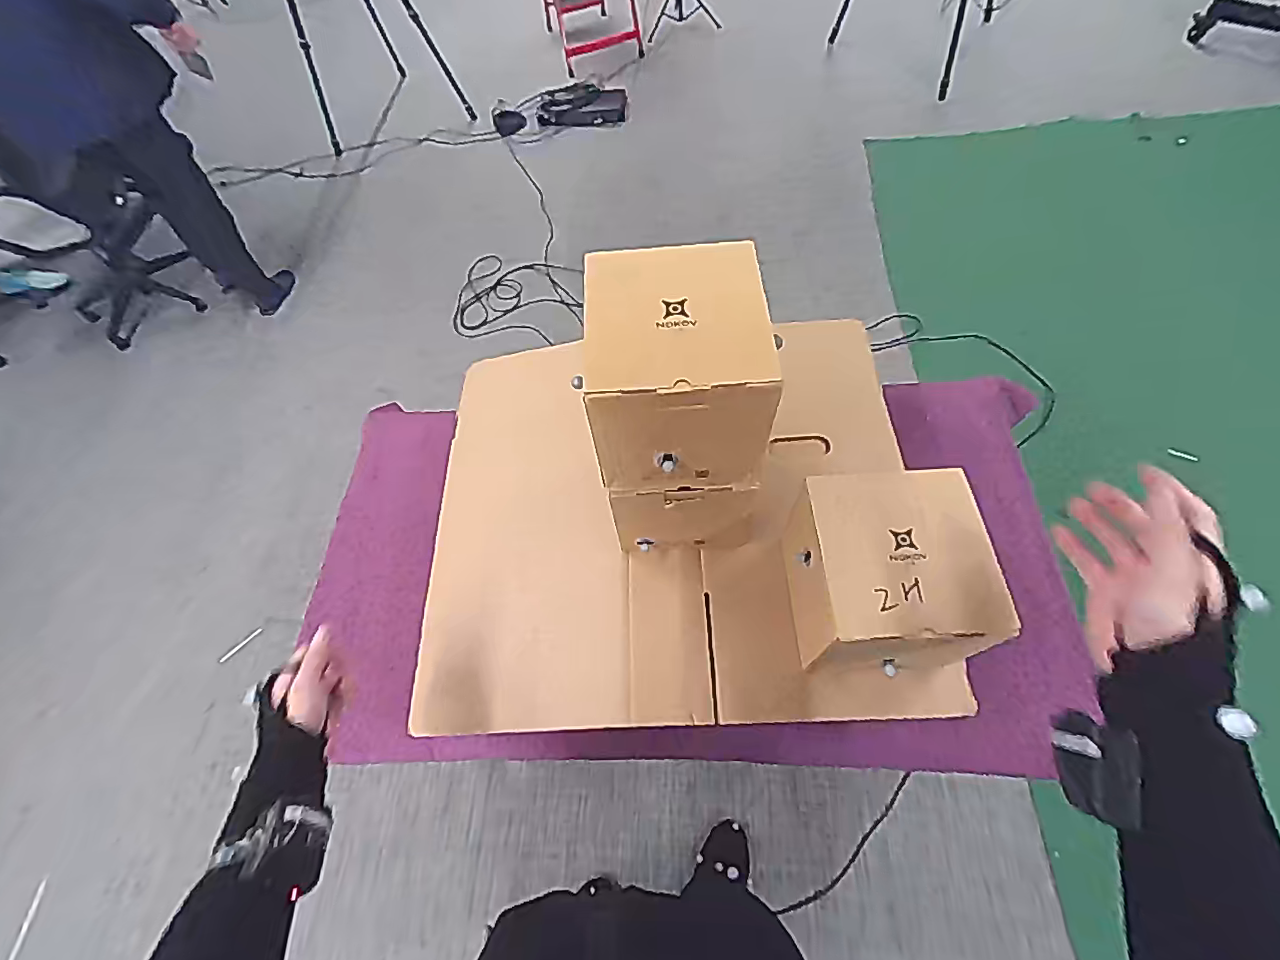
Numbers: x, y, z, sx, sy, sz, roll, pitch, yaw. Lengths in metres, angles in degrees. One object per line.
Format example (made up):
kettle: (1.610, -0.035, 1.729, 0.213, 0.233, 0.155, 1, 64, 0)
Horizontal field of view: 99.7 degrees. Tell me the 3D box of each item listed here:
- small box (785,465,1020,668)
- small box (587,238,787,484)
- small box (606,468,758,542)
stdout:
small box: (0.264, 0.101, 0.597, 0.168, 0.176, 0.179, -3, 61, 3)
small box: (0.038, -0.113, 0.547, 0.168, 0.176, 0.179, -4, 62, 1)
small box: (0.049, -0.028, 0.684, 0.168, 0.176, 0.179, -3, 60, 2)
